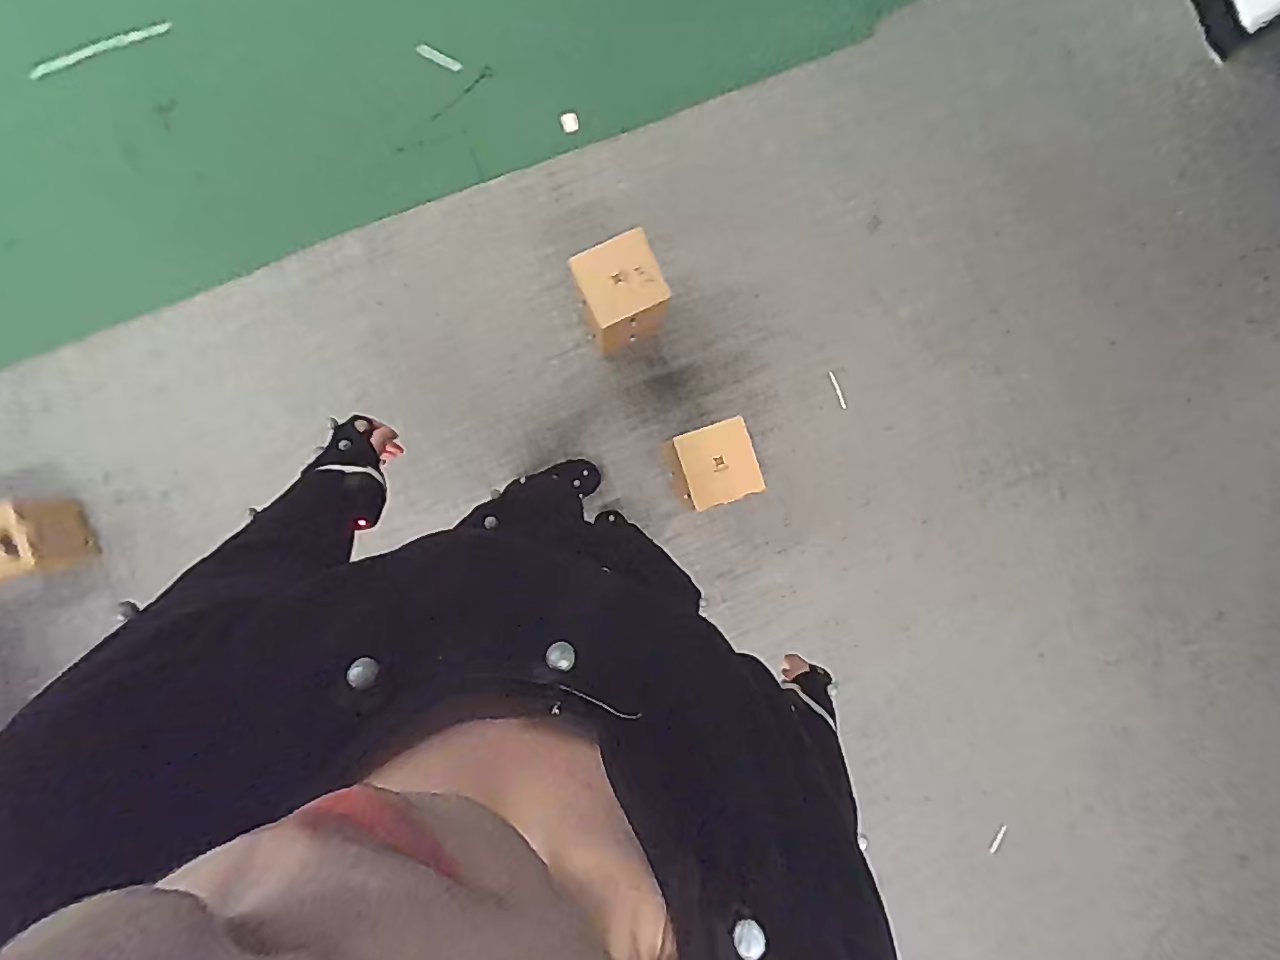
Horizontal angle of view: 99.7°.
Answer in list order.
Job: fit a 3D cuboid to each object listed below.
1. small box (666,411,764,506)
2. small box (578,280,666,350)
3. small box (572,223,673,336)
[{"bbox_3d":[0.169,-0.049,1.273,0.168,0.176,0.179,-18,93,-3],"label":"small box"},{"bbox_3d":[-0.047,-0.456,1.409,0.179,0.176,0.168,-23,94,-3],"label":"small box"},{"bbox_3d":[-0.040,-0.450,1.245,0.179,0.176,0.168,-25,95,-2],"label":"small box"}]
